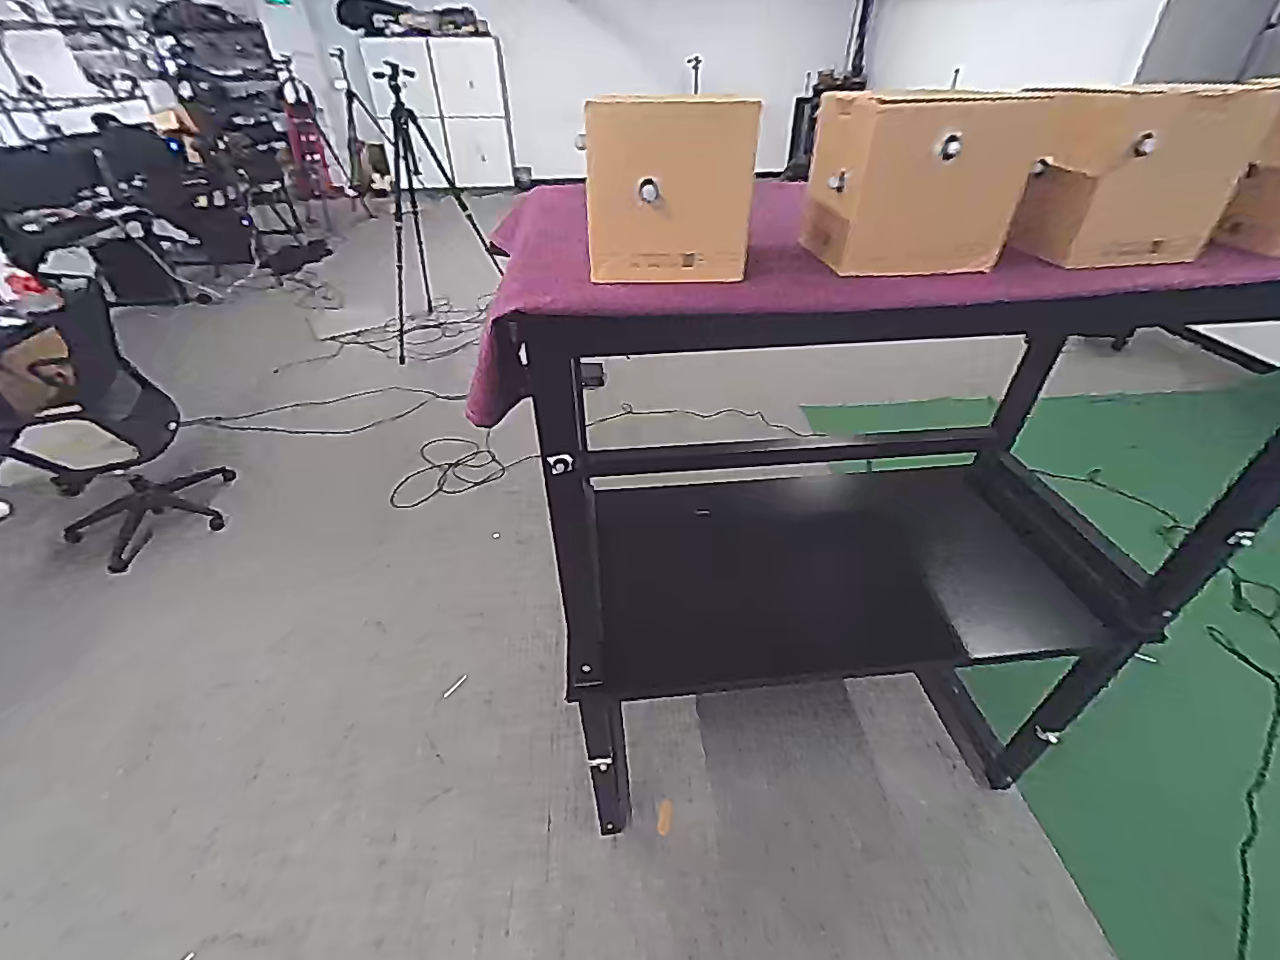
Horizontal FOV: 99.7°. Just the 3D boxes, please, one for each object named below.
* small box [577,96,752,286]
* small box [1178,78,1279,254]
[{"bbox_3d":[0.024,-0.324,0.609,0.168,0.176,0.179,-2,36,-1],"label":"small box"},{"bbox_3d":[0.821,-0.381,0.654,0.179,0.176,0.168,-2,39,0],"label":"small box"}]
